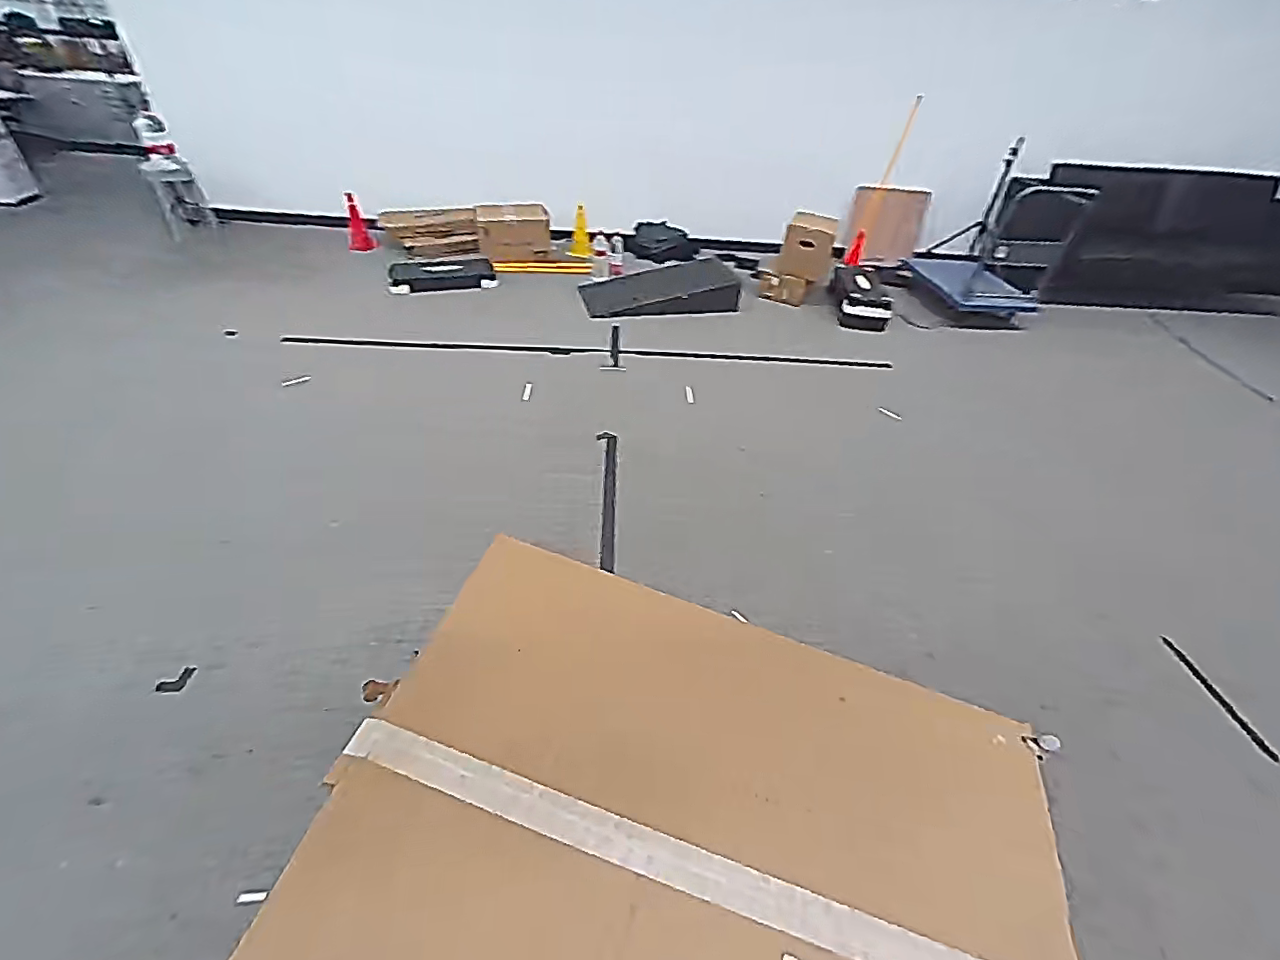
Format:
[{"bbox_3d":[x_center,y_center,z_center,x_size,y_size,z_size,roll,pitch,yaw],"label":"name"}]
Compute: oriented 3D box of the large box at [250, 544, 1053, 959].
[{"bbox_3d":[0.009,0.310,0.413,0.408,0.320,0.320,19,48,4],"label":"large box"}]
